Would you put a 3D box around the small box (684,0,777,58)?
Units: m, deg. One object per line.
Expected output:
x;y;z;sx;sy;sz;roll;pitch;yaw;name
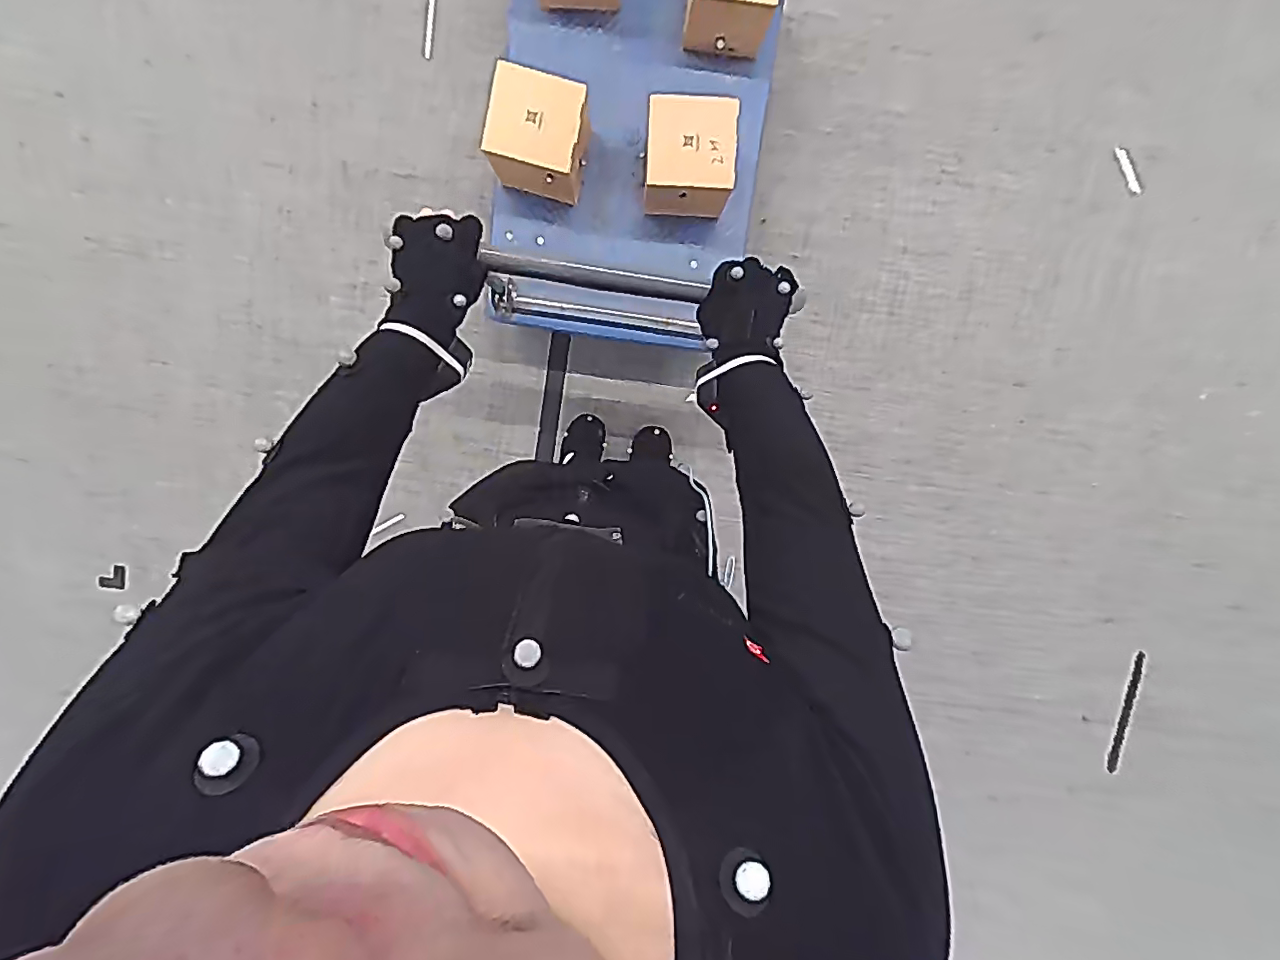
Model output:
0.185;-1.001;1.082;0.168;0.176;0.179;6;100;-3;small box

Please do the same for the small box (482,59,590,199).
-0.206;-0.709;1.114;0.179;0.176;0.168;13;98;-5;small box

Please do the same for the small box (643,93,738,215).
0.098;-0.670;1.130;0.179;0.176;0.168;2;99;-2;small box
